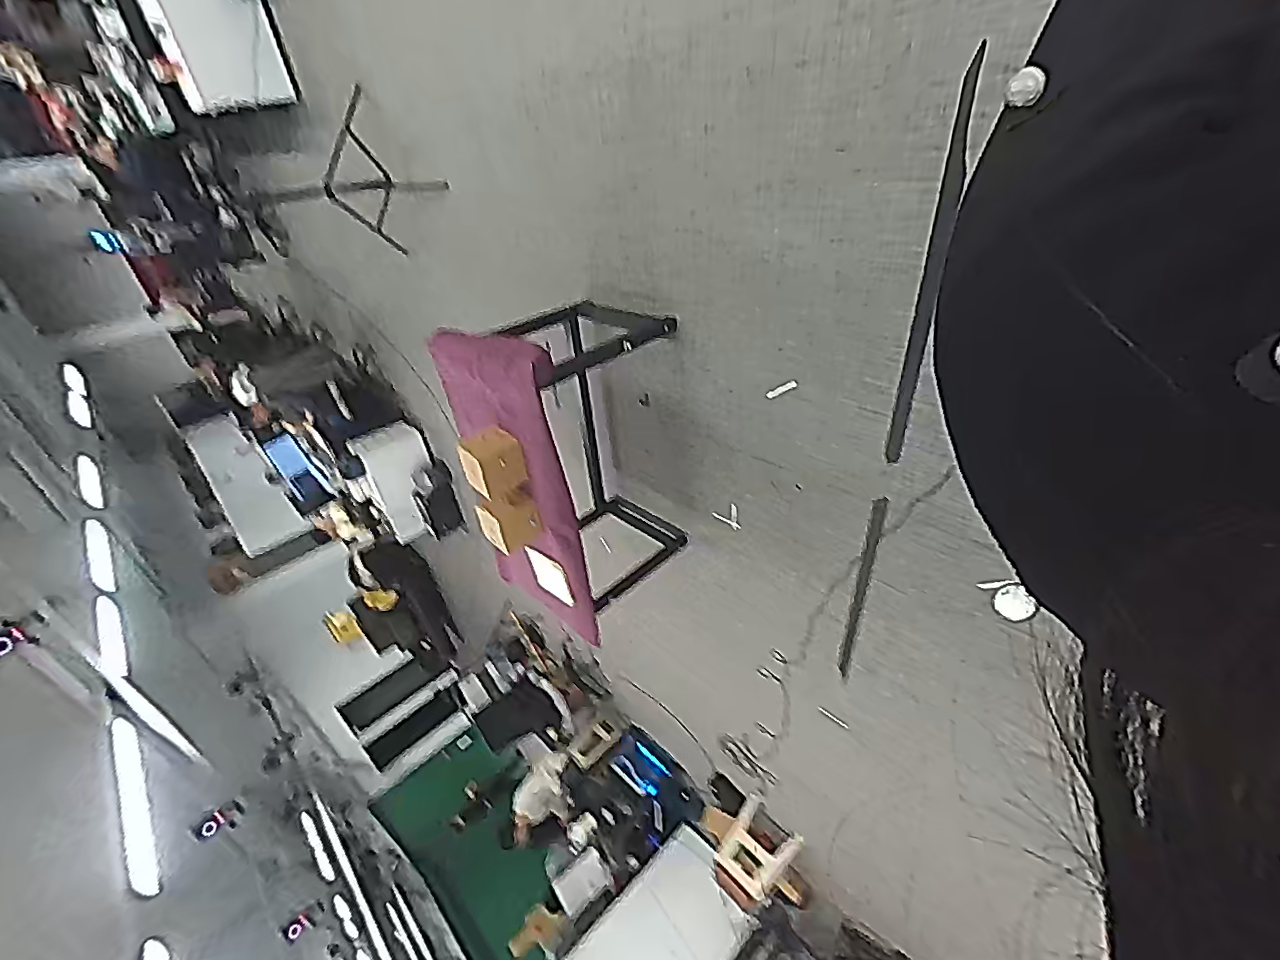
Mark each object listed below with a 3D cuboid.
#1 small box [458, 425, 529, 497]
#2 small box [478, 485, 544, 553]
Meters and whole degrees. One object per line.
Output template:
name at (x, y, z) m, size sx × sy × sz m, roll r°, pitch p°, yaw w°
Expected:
small box at (-0.523, -0.074, 1.948) m, size 0.168 × 0.176 × 0.179 m, roll 31°, pitch 141°, yaw 39°
small box at (-0.498, 0.144, 2.098) m, size 0.168 × 0.176 × 0.179 m, roll 27°, pitch 136°, yaw 40°
